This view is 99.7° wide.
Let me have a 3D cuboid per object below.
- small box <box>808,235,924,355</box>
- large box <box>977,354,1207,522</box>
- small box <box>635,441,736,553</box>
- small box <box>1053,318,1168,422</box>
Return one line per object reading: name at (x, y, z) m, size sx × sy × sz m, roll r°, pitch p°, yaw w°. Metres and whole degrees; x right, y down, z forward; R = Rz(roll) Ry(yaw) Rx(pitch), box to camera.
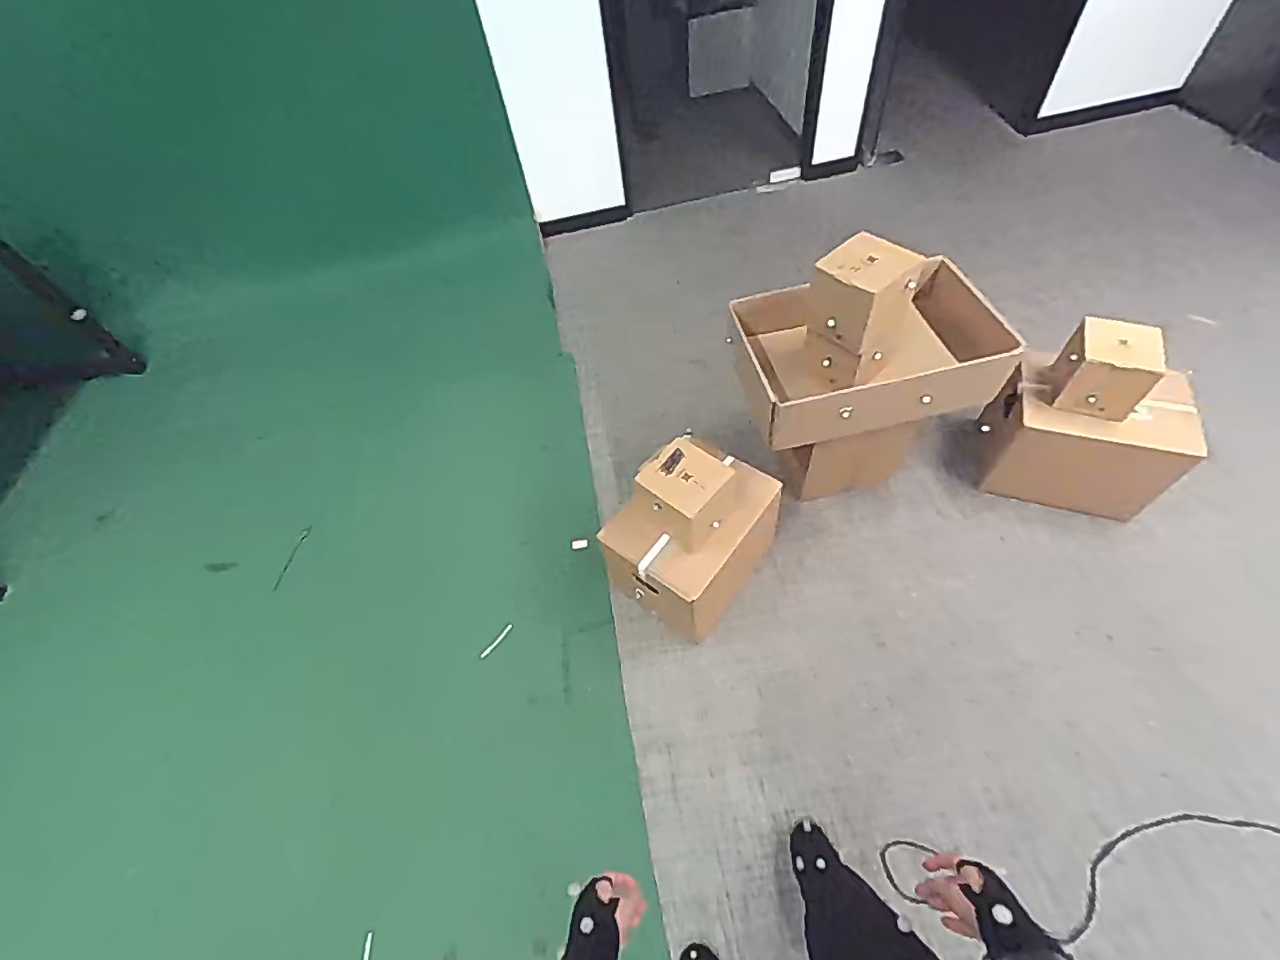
small box at (0.509, -0.425, 1.248) m, size 0.179 × 0.176 × 0.168 m, roll -37°, pitch 57°, yaw -17°
large box at (1.256, -0.122, 1.563) m, size 0.408 × 0.320 × 0.320 m, roll 14°, pitch 58°, yaw 15°
small box at (0.111, 0.046, 1.299) m, size 0.179 × 0.176 × 0.168 m, roll 34°, pitch 66°, yaw 28°
small box at (1.191, -0.281, 1.383) m, size 0.168 × 0.176 × 0.179 m, roll 17°, pitch 58°, yaw 18°
